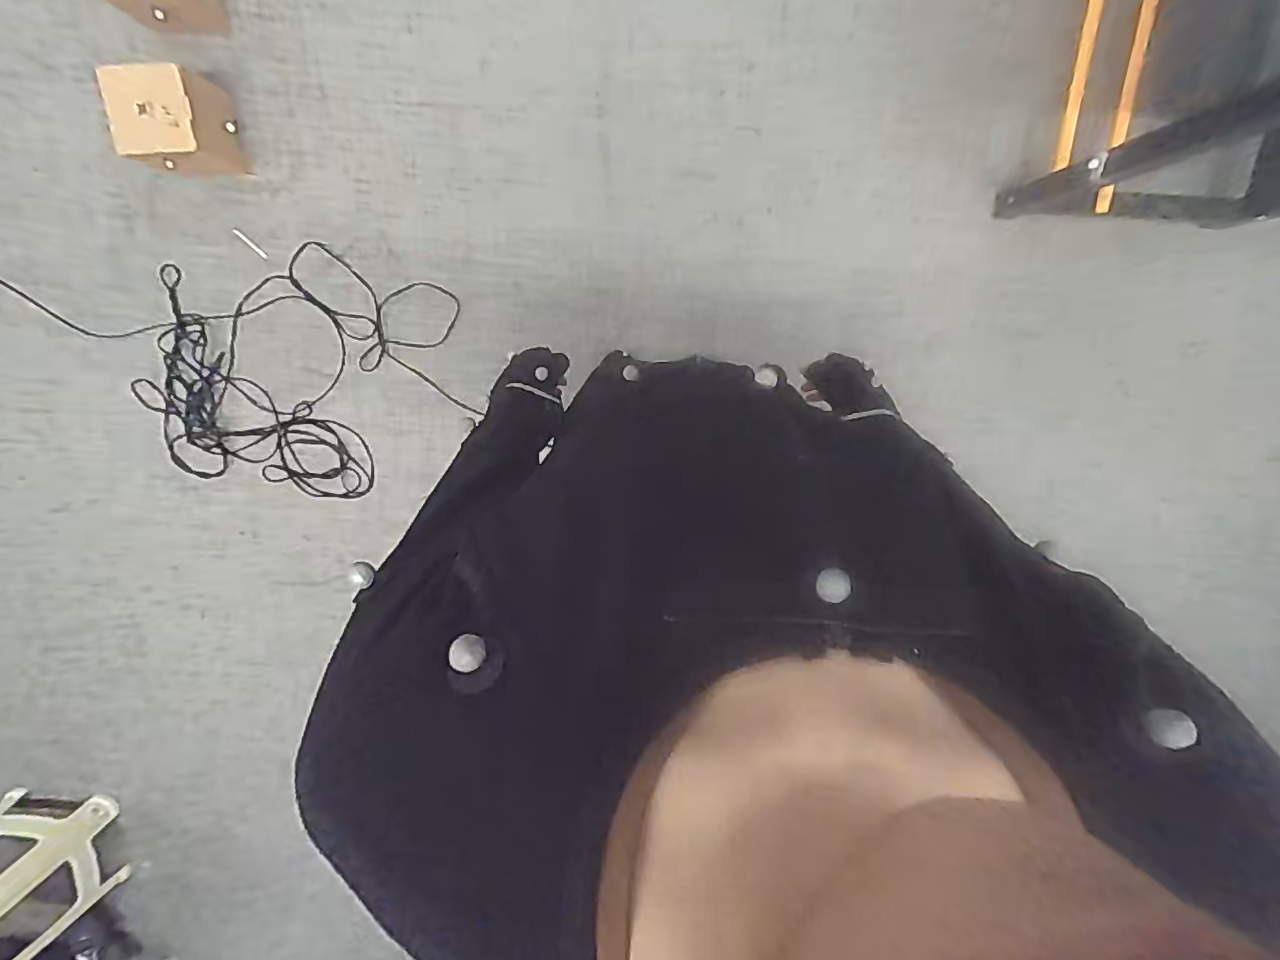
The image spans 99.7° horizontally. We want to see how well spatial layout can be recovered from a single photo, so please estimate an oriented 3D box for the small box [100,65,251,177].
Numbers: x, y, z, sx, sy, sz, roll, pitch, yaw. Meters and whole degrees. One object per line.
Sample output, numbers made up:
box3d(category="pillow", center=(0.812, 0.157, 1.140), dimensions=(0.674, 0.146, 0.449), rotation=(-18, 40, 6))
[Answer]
box3d(category="small box", center=(-1.029, -0.795, 1.213), dimensions=(0.179, 0.176, 0.168), rotation=(-2, 105, 0))
